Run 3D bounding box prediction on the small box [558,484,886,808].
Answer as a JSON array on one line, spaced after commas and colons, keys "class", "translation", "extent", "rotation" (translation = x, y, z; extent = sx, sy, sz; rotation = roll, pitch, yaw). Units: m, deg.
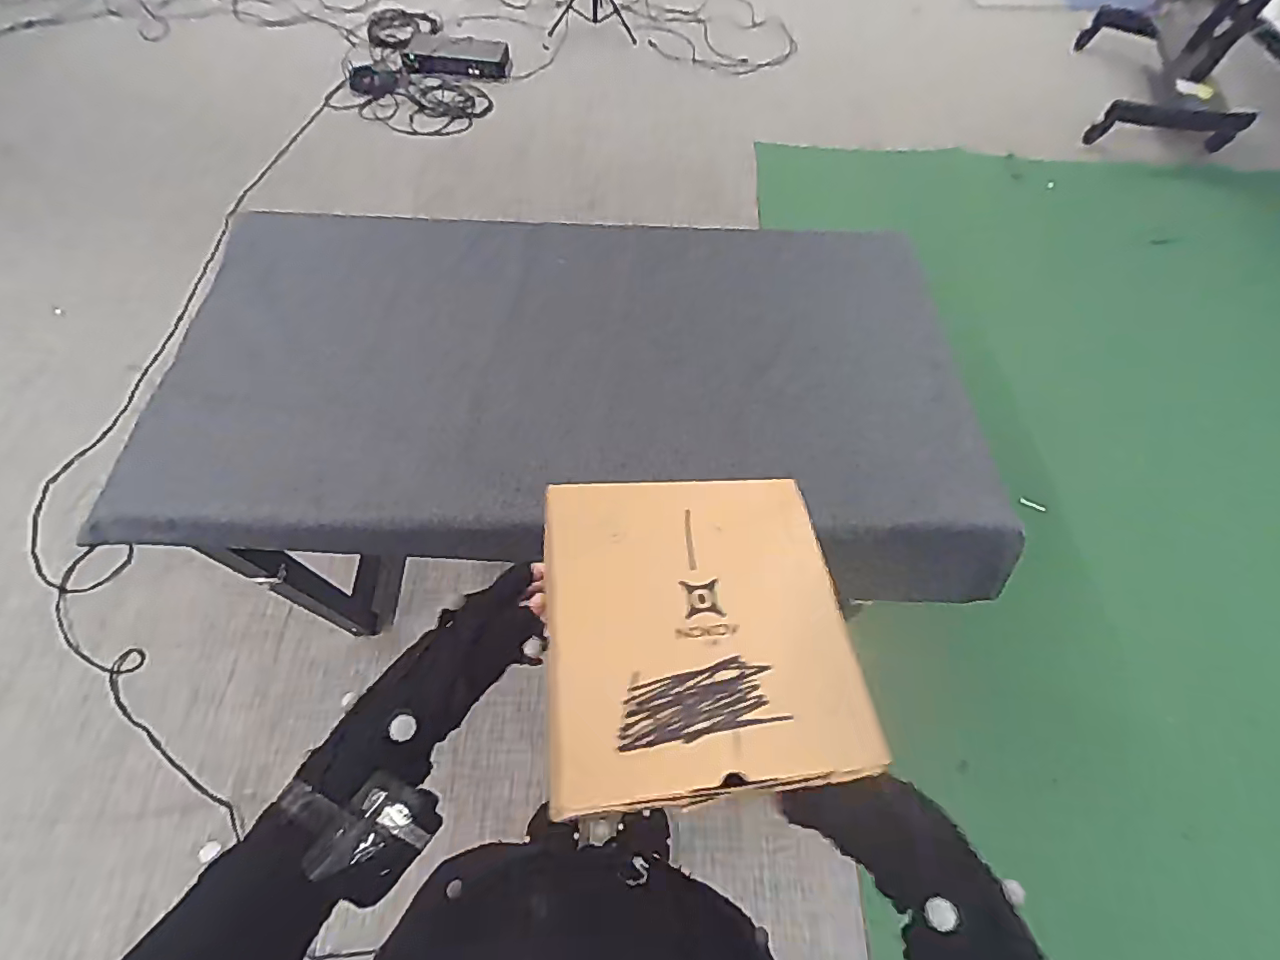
[{"class": "small box", "translation": [0.029, 0.120, 0.377], "extent": [0.168, 0.176, 0.179], "rotation": [-1, 57, -11]}]
